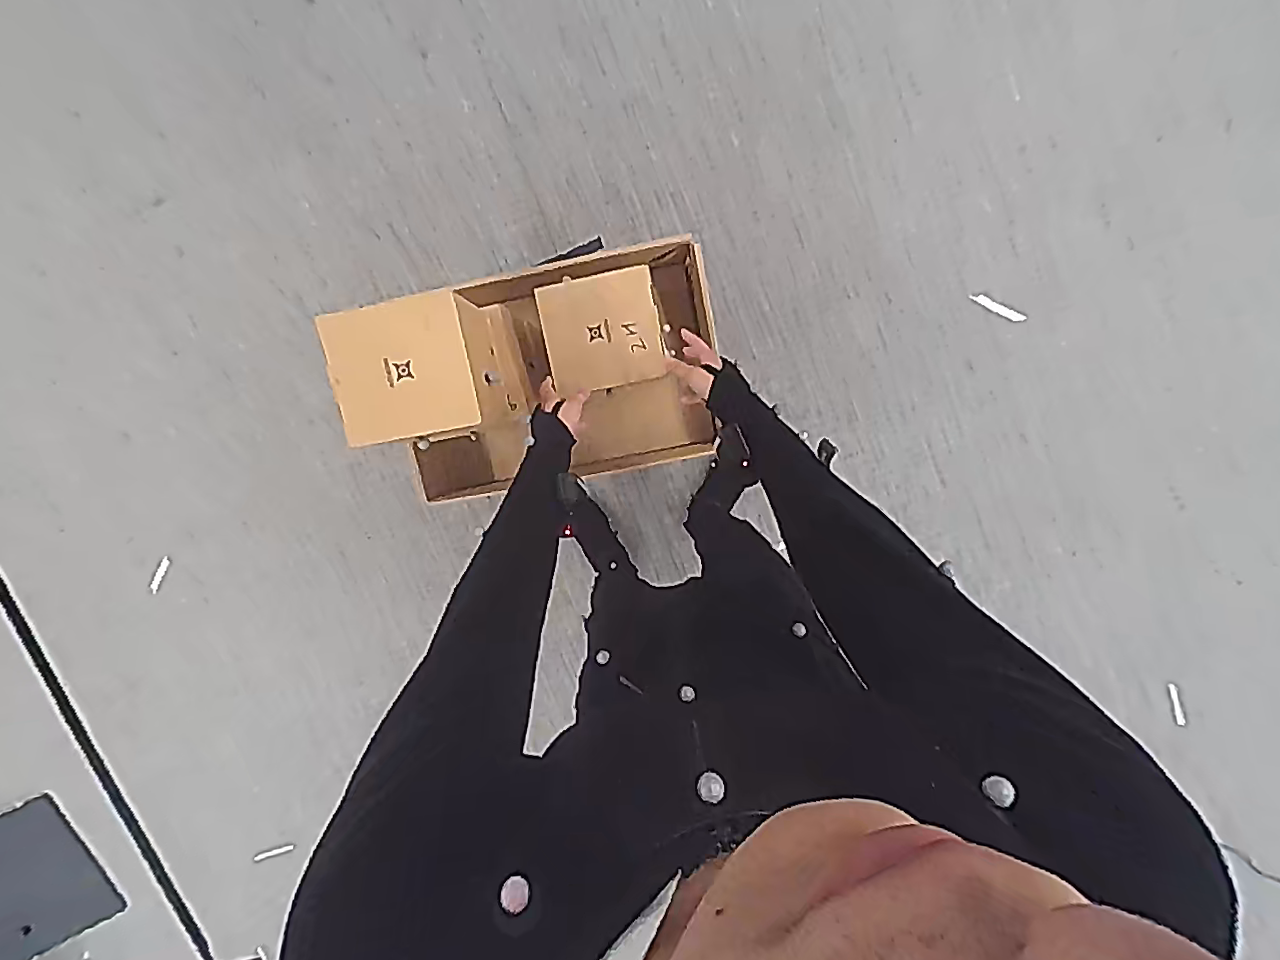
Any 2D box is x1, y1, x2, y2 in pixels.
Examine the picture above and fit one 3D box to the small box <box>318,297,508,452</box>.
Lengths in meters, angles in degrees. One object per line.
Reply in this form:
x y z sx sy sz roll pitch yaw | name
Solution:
-0.291 -0.140 0.742 0.179 0.176 0.168 -11 97 2 | small box
